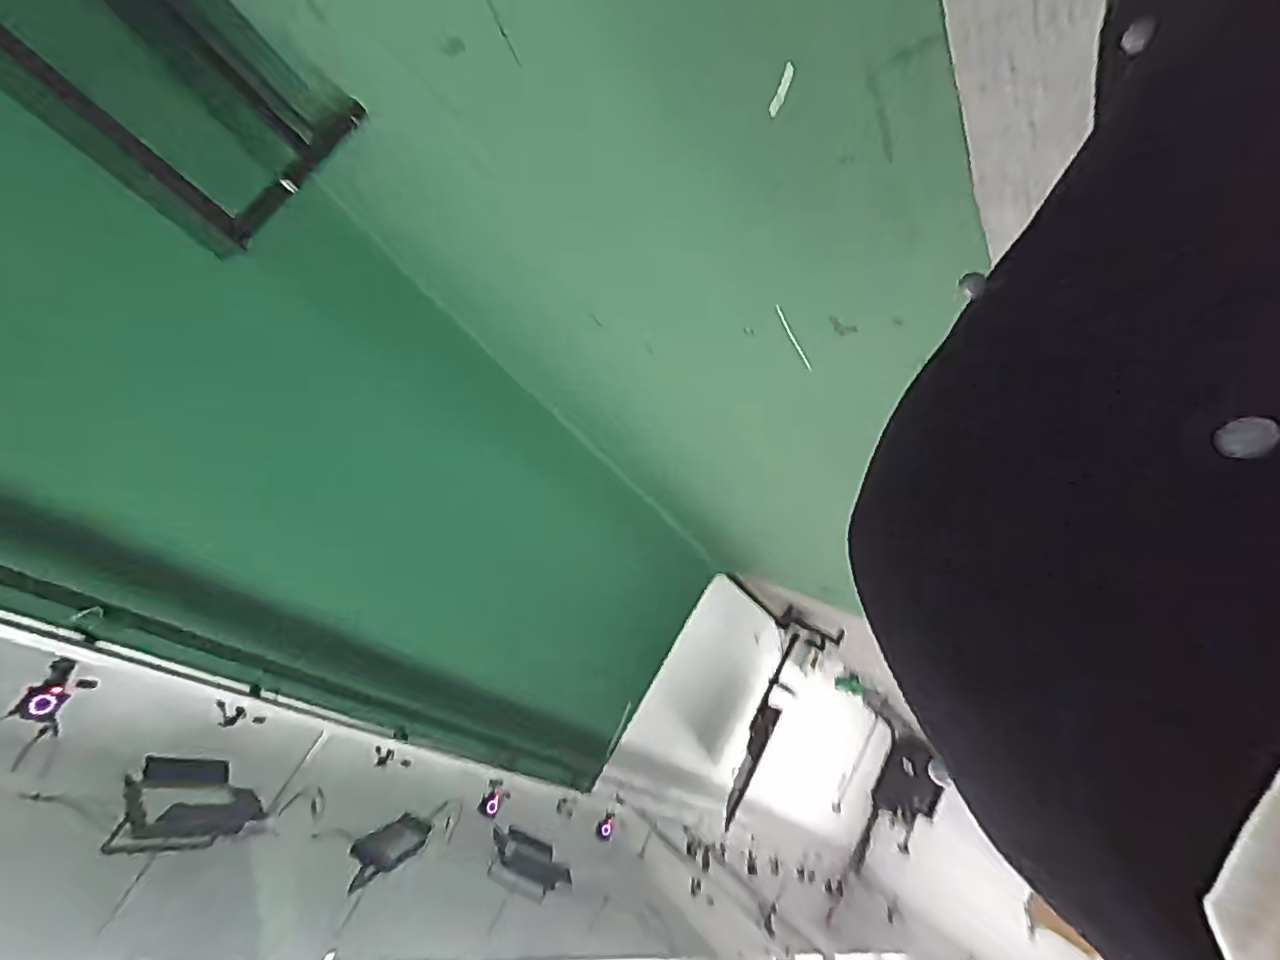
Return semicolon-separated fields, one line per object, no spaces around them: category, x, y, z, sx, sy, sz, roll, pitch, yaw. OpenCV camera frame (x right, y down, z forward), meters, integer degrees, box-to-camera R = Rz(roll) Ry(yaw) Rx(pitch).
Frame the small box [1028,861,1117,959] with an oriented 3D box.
small box;1.322;1.309;1.647;0.179;0.176;0.168;15;156;50
